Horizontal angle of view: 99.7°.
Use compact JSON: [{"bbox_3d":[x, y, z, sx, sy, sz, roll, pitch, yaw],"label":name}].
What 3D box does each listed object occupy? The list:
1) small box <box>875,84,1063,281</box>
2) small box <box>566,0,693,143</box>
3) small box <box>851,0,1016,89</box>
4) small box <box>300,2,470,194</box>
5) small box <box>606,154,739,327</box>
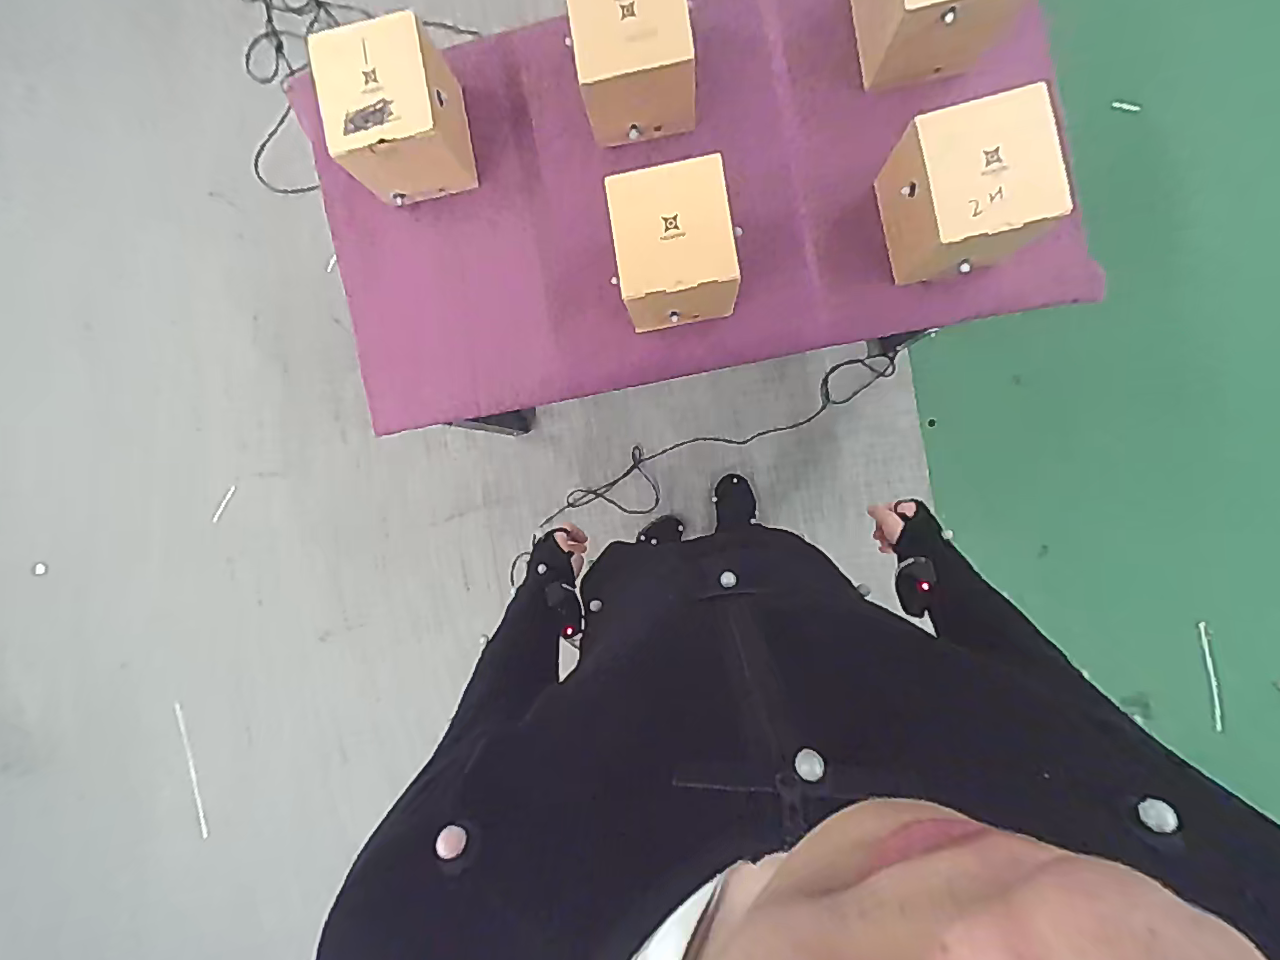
[{"bbox_3d":[0.461,-0.416,0.786,0.168,0.176,0.179,-12,92,6],"label":"small box"},{"bbox_3d":[-0.014,-0.652,0.815,0.168,0.176,0.179,-8,93,5],"label":"small box"},{"bbox_3d":[0.416,-0.718,0.777,0.168,0.176,0.179,-10,92,6],"label":"small box"},{"bbox_3d":[-0.382,-0.572,0.842,0.168,0.176,0.179,-10,93,4],"label":"small box"},{"bbox_3d":[0.048,-0.351,0.825,0.168,0.176,0.179,-9,91,4],"label":"small box"}]
